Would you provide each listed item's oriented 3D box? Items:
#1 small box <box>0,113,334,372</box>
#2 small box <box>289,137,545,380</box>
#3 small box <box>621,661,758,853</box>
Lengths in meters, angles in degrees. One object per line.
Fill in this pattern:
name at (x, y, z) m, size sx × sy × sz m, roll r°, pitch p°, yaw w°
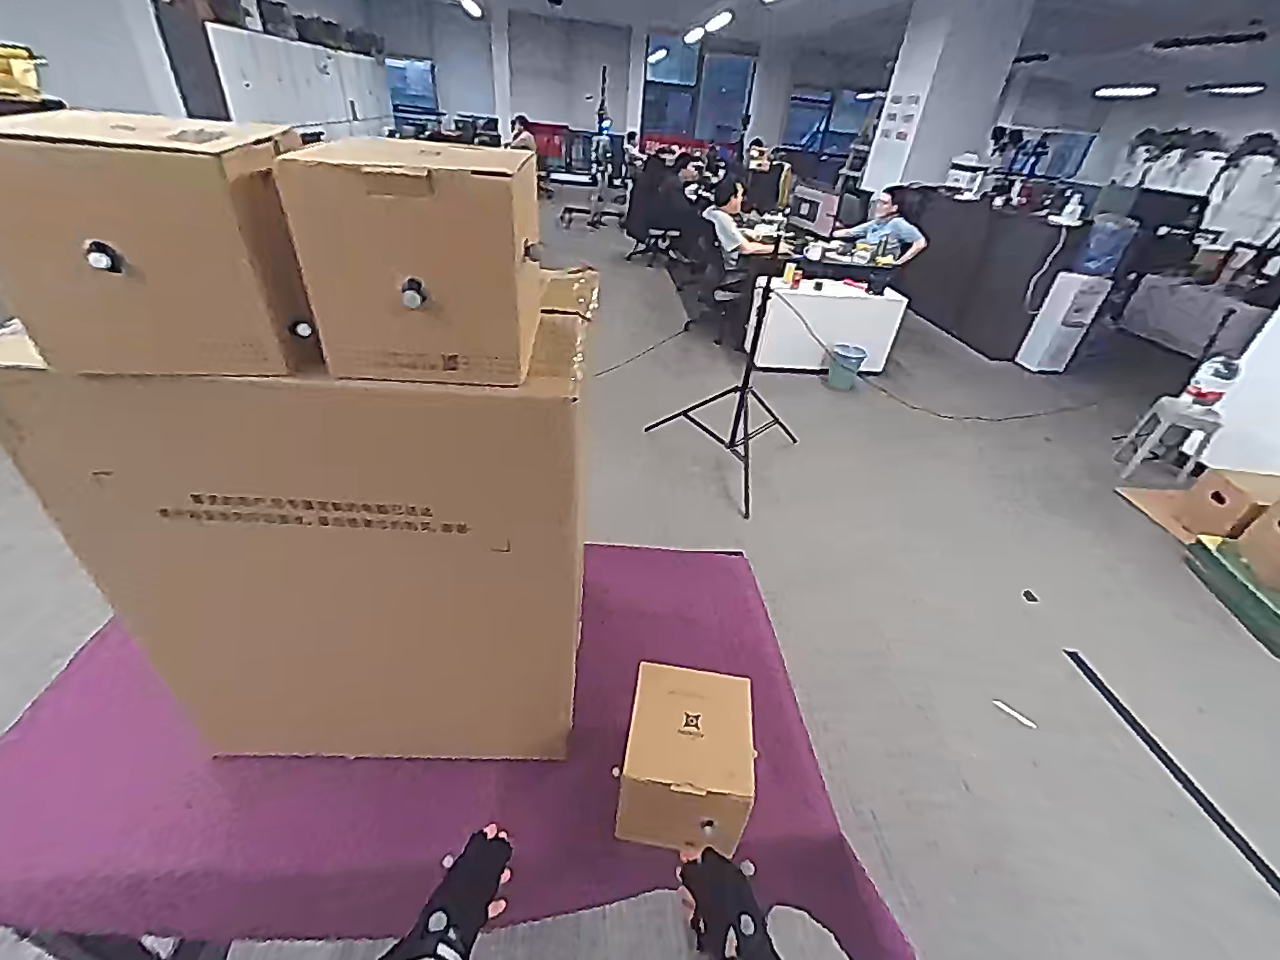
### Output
small box at (-0.381, -0.201, 0.464) m, size 0.179 × 0.176 × 0.168 m, roll -2°, pitch 37°, yaw -10°
small box at (-0.178, -0.204, 0.499) m, size 0.168 × 0.176 × 0.179 m, roll 2°, pitch 36°, yaw -6°
small box at (0.068, 0.394, 0.773) m, size 0.168 × 0.176 × 0.179 m, roll 9°, pitch 33°, yaw 3°
